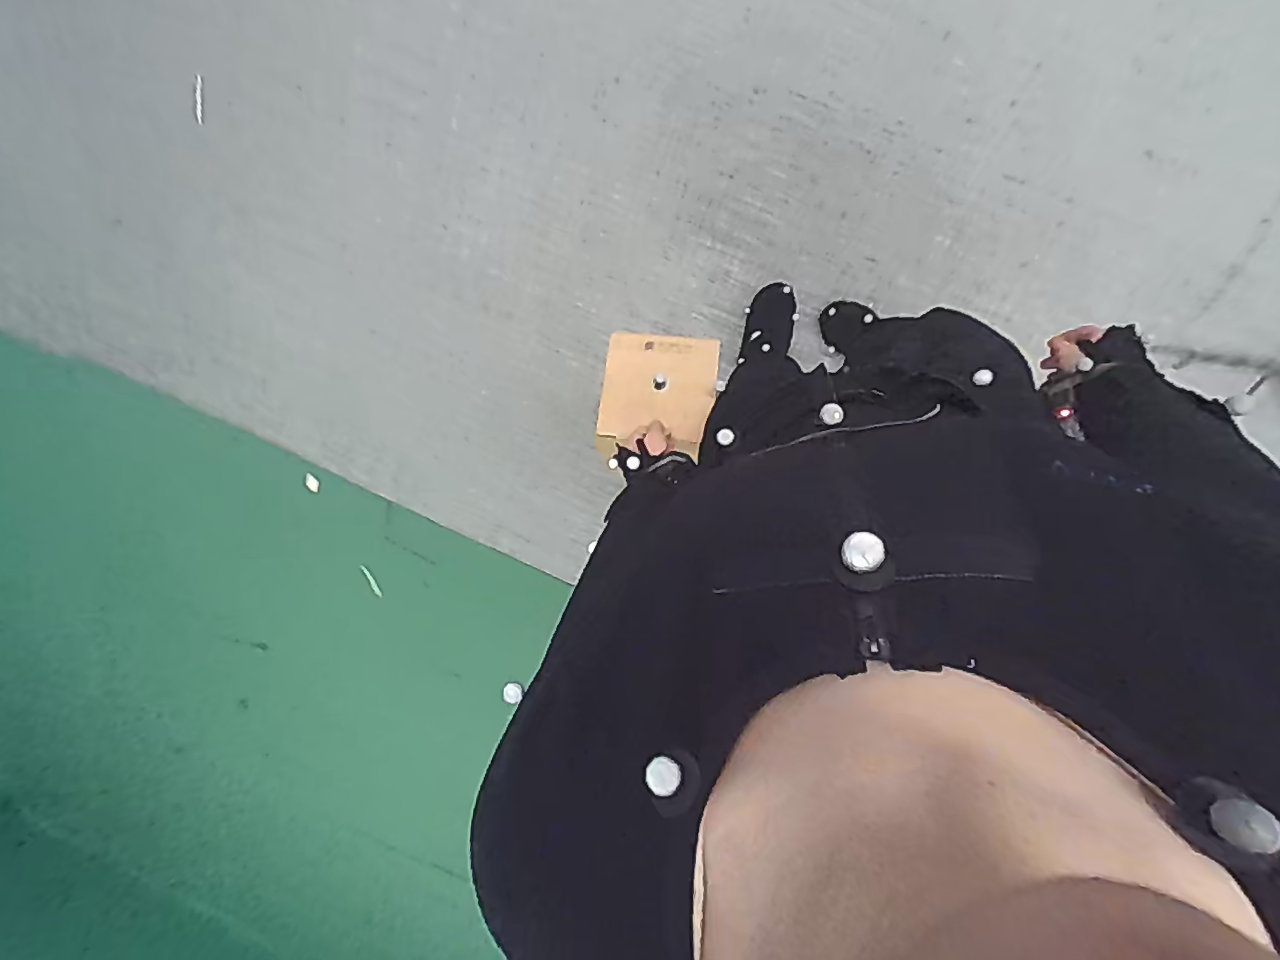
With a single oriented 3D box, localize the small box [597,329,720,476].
[{"bbox_3d":[0.030,-0.118,0.852,0.168,0.179,0.176,8,75,3],"label":"small box"}]
